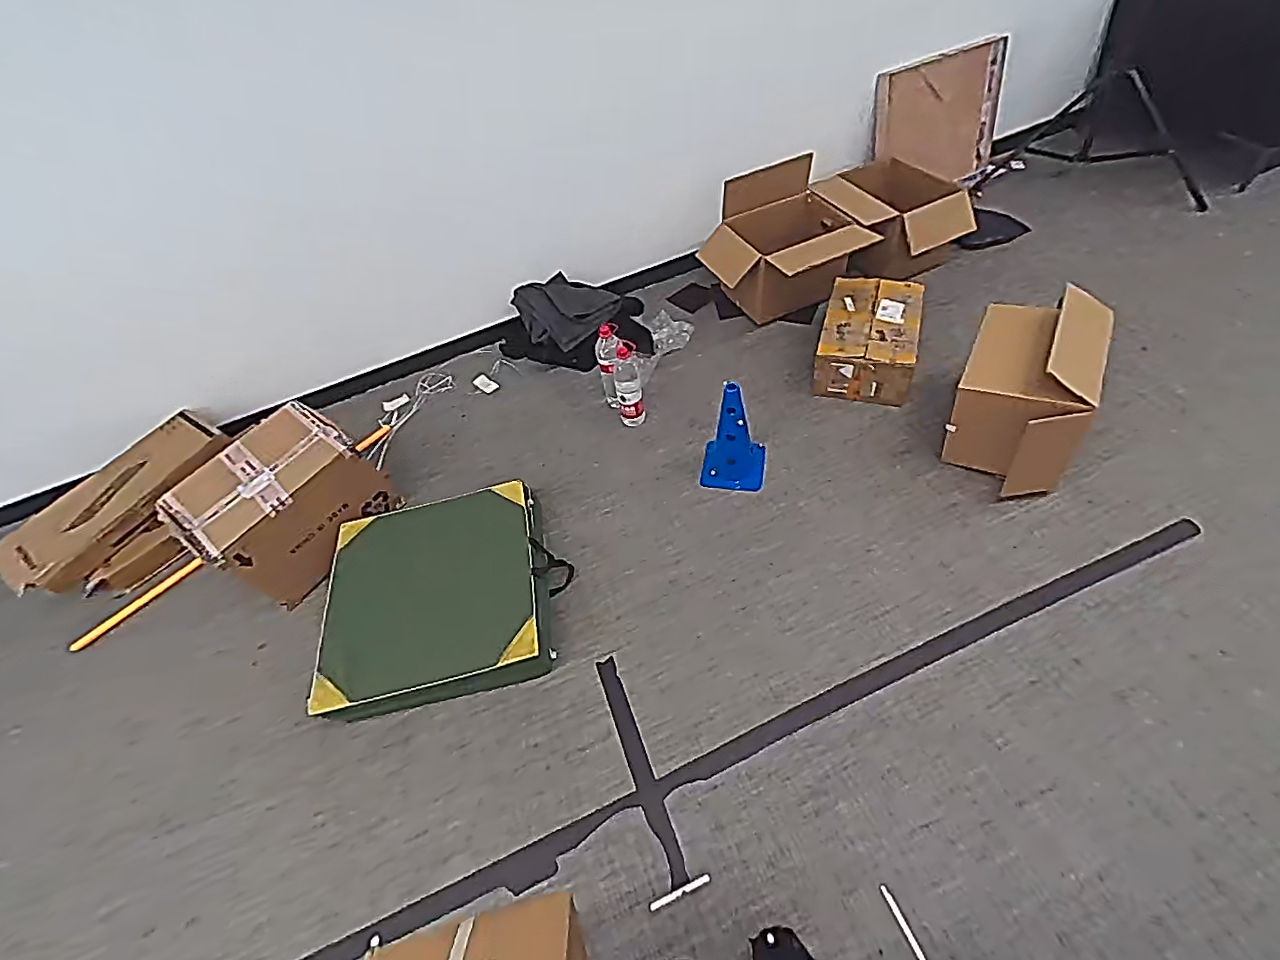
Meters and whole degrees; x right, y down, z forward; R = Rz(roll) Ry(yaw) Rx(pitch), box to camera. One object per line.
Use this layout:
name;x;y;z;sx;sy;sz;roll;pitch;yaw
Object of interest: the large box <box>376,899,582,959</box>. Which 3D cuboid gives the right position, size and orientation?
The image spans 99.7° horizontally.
large box;-0.204;0.817;0.617;0.320;0.408;0.320;-14;89;-4
